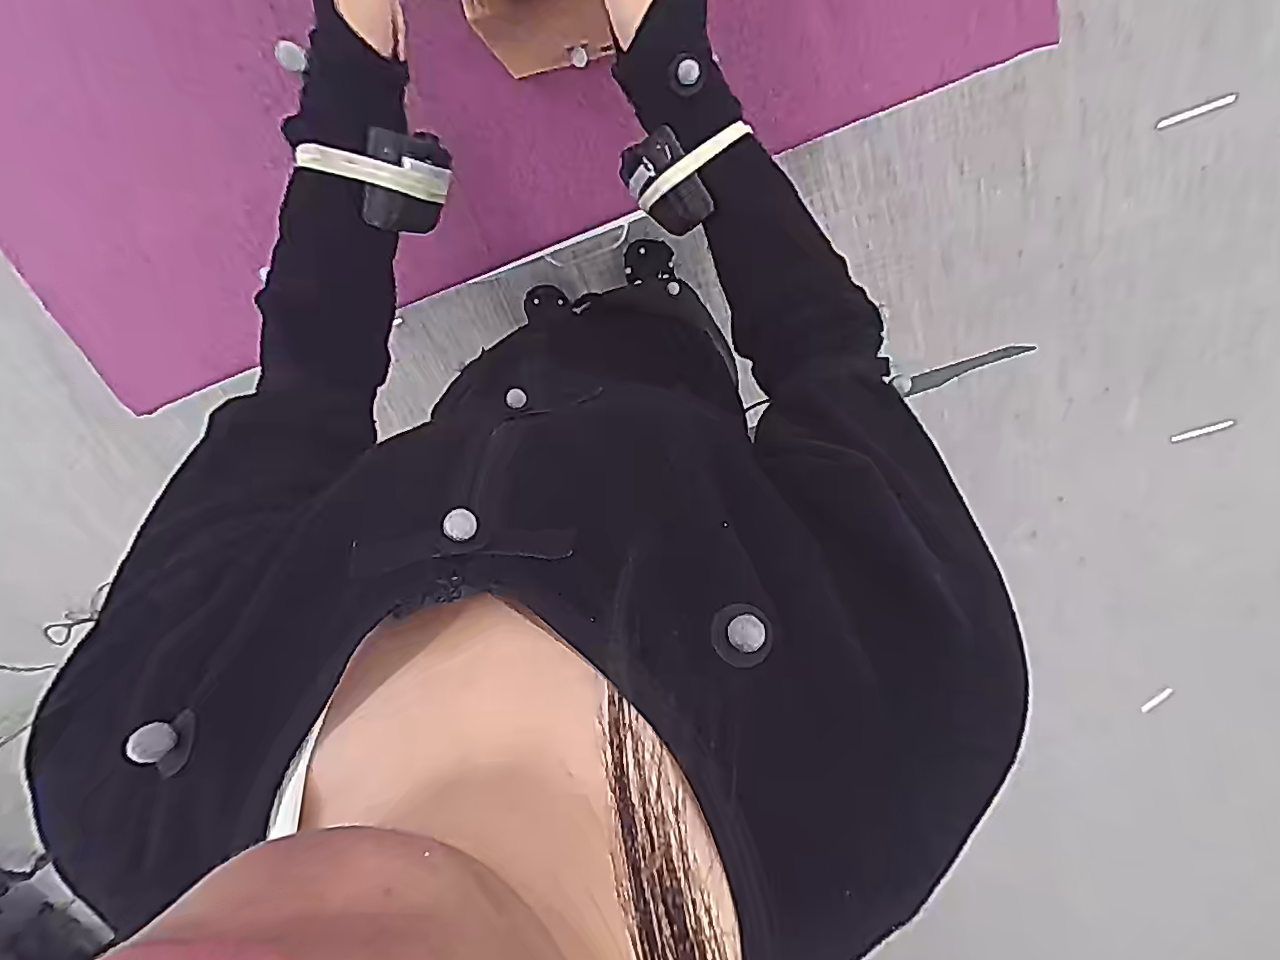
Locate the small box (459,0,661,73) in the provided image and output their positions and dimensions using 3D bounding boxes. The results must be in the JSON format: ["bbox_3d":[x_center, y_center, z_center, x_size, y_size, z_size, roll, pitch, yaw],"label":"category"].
[{"bbox_3d":[-0.075,-0.493,0.466,0.168,0.176,0.179,-9,114,6],"label":"small box"}]
